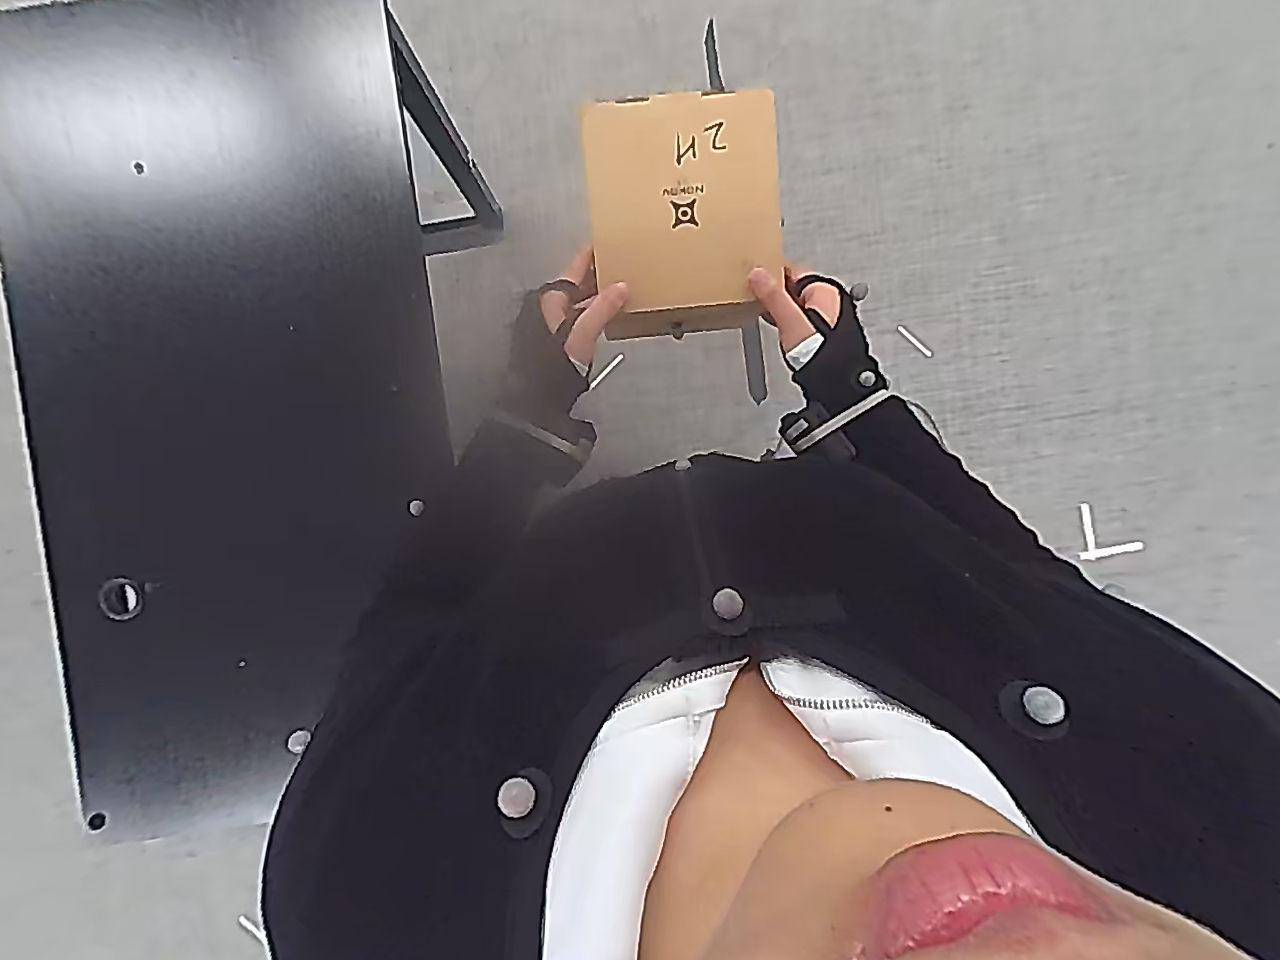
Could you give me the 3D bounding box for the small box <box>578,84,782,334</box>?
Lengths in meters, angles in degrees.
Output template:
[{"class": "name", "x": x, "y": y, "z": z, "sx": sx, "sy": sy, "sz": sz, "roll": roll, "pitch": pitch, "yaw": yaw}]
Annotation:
[{"class": "small box", "x": 0.036, "y": -0.248, "z": 0.542, "sx": 0.168, "sy": 0.176, "sz": 0.179, "roll": -6, "pitch": 96, "yaw": 0}]
